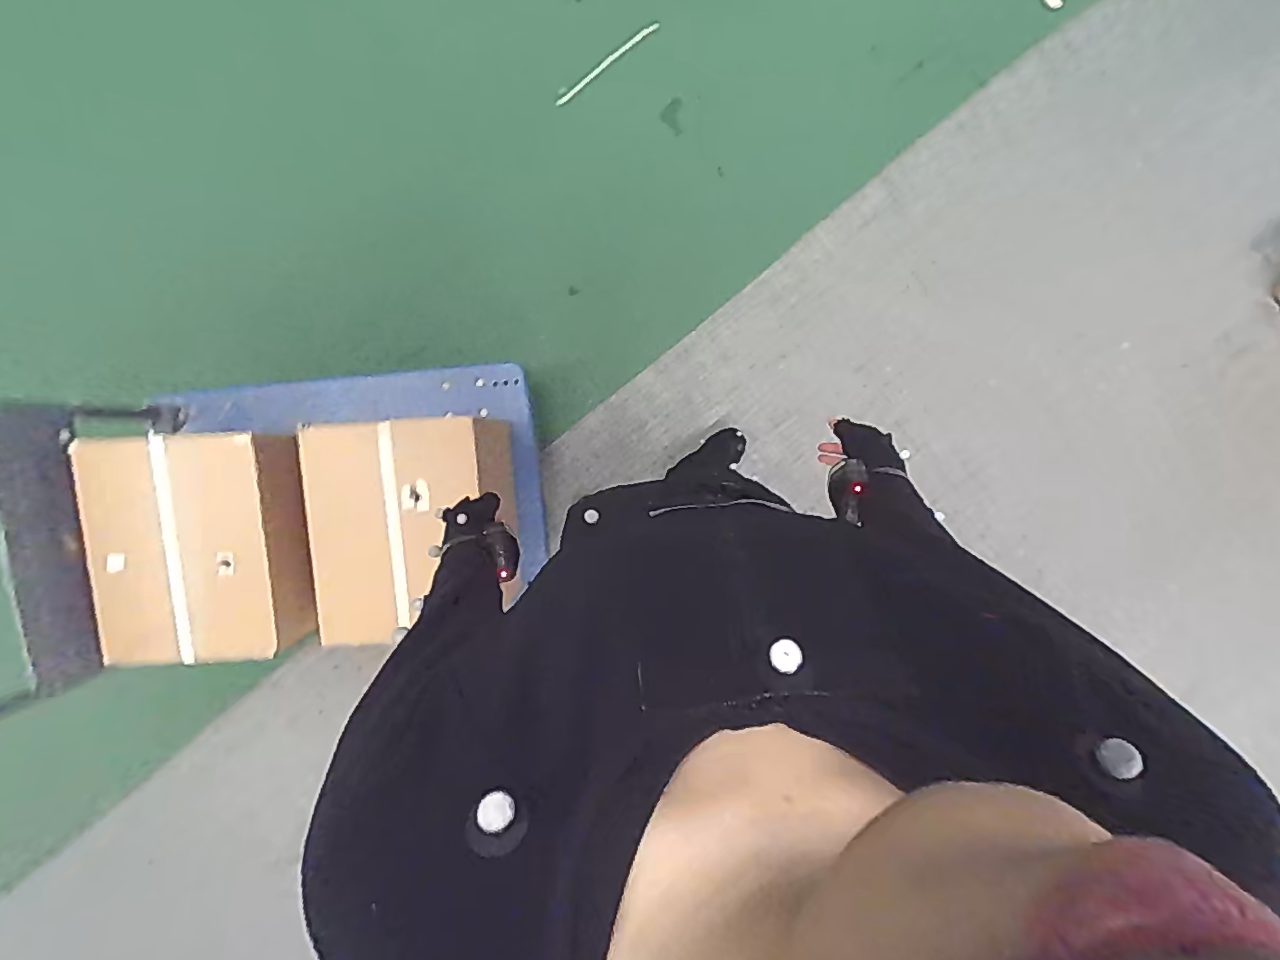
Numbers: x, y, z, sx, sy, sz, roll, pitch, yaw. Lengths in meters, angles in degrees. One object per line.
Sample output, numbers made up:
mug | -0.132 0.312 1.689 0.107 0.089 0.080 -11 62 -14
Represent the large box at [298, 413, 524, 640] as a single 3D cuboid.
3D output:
large box | -0.442 0.077 1.124 0.320 0.320 0.408 -4 95 -1
